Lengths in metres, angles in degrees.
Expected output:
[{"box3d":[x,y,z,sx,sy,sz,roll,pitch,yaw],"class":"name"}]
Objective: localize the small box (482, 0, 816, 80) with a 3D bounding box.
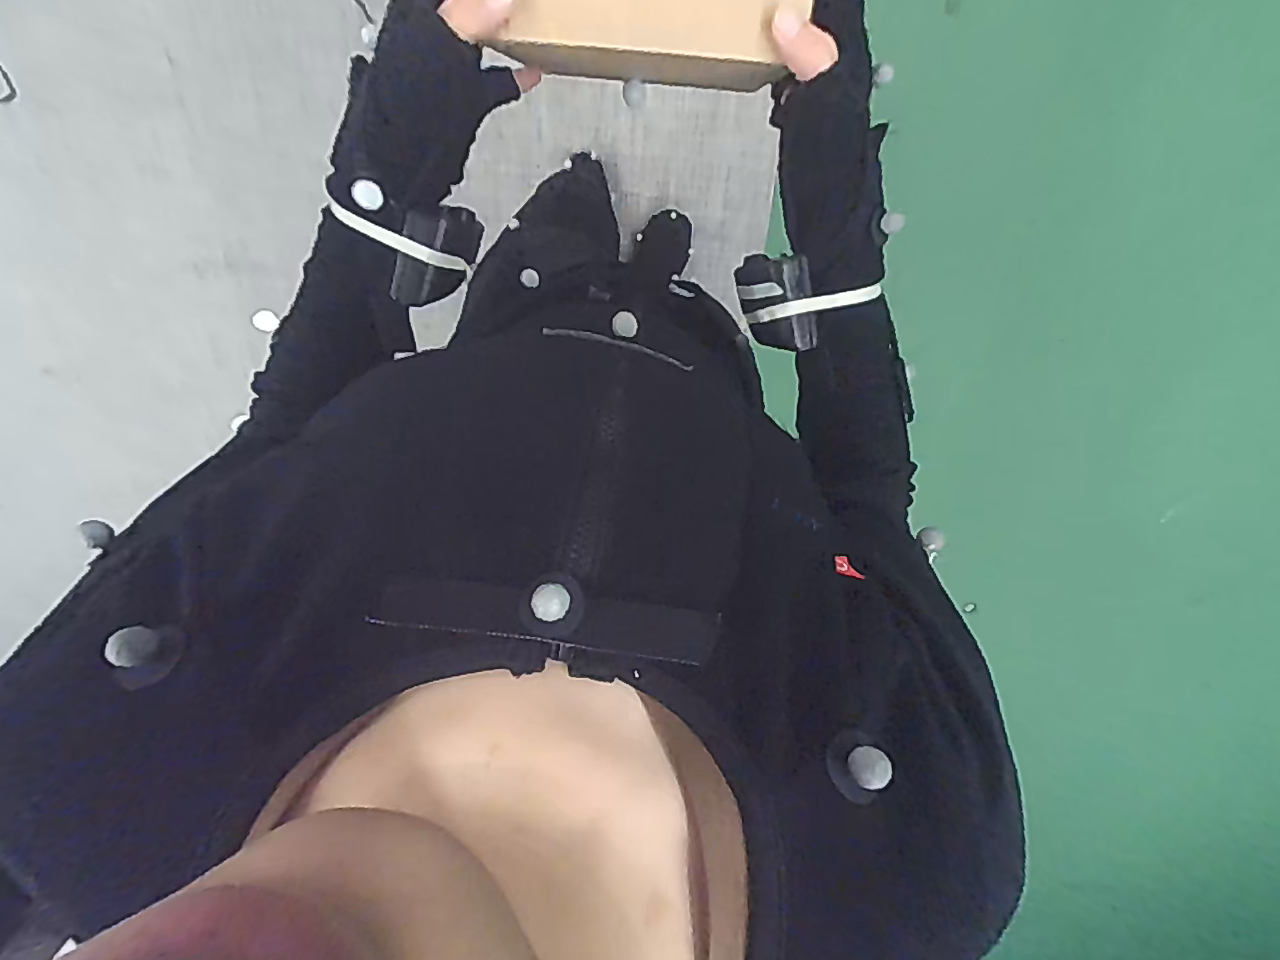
[{"box3d":[0.011,-0.335,0.286,0.168,0.176,0.179,5,122,0],"class":"small box"}]
